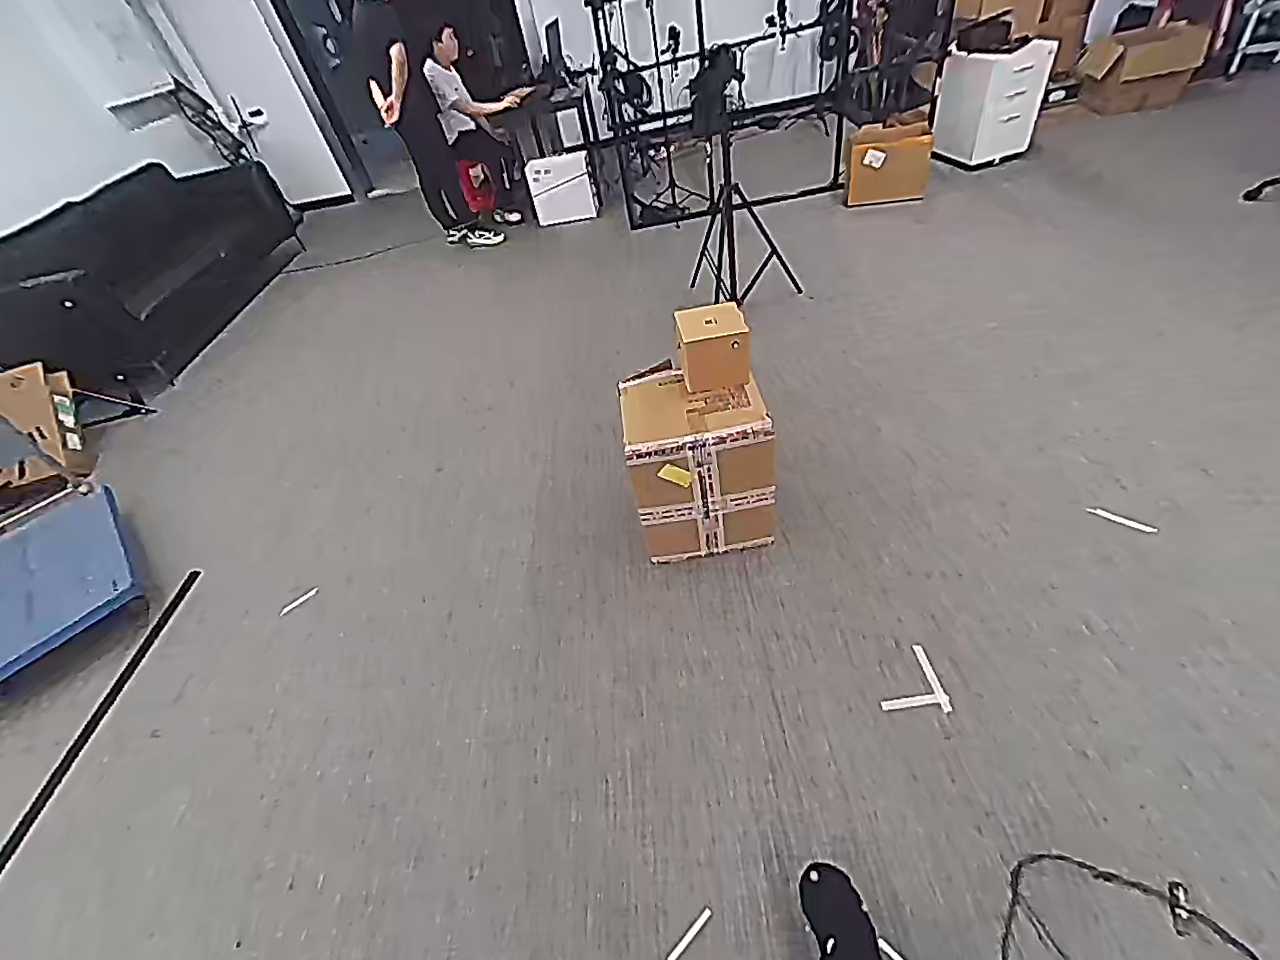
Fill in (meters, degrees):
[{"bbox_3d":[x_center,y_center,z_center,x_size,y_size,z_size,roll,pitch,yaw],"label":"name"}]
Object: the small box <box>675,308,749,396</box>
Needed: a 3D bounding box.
[{"bbox_3d":[0.201,-0.354,1.514,0.179,0.176,0.168,-10,45,0],"label":"small box"}]
